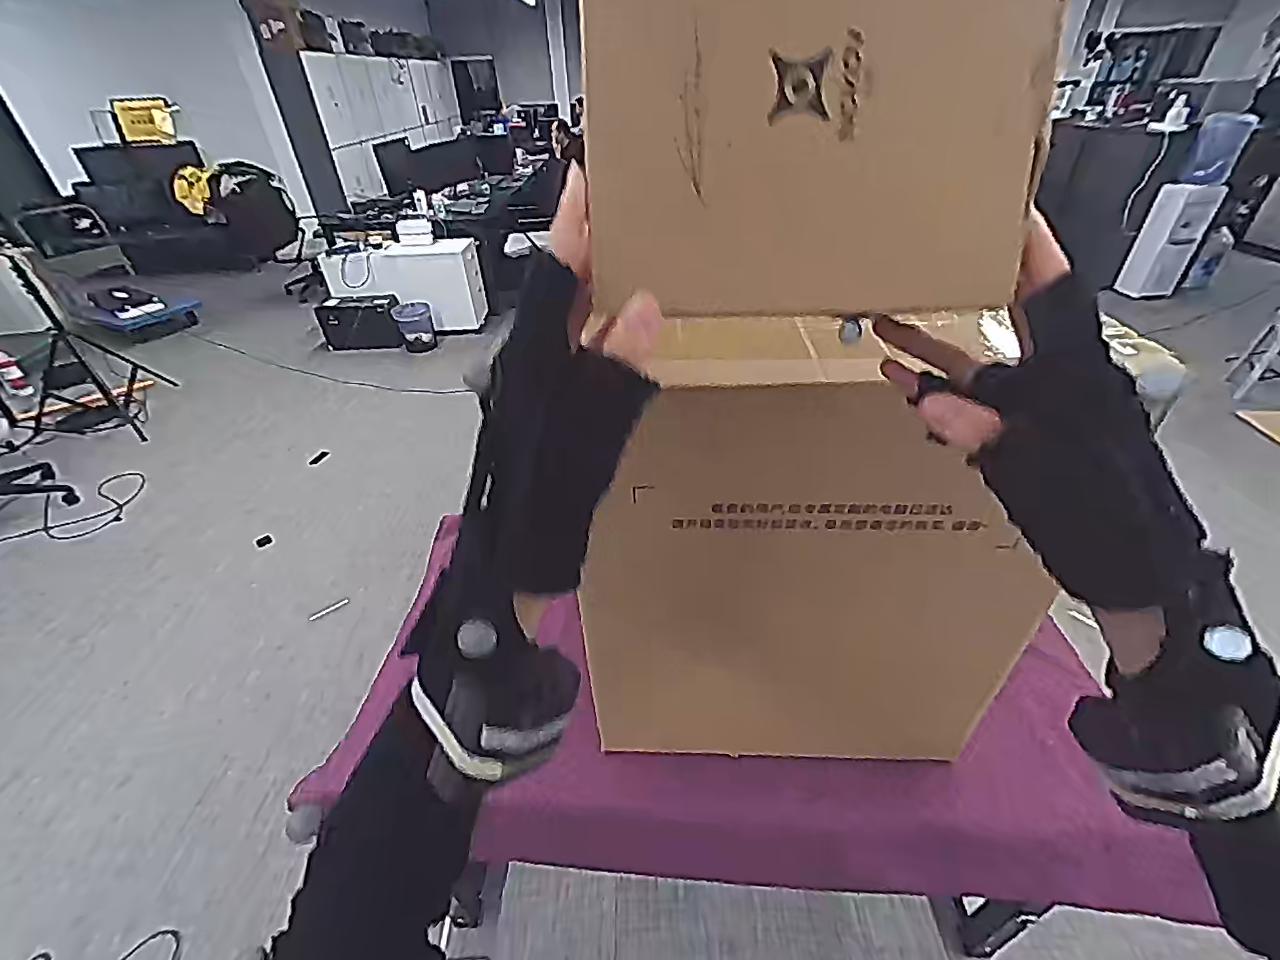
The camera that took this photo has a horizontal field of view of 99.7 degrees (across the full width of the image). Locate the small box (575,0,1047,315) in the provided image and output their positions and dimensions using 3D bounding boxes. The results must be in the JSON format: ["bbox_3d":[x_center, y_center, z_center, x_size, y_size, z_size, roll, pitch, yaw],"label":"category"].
[{"bbox_3d":[0.069,-0.178,0.283,0.179,0.168,0.176,0,13,7],"label":"small box"}]
